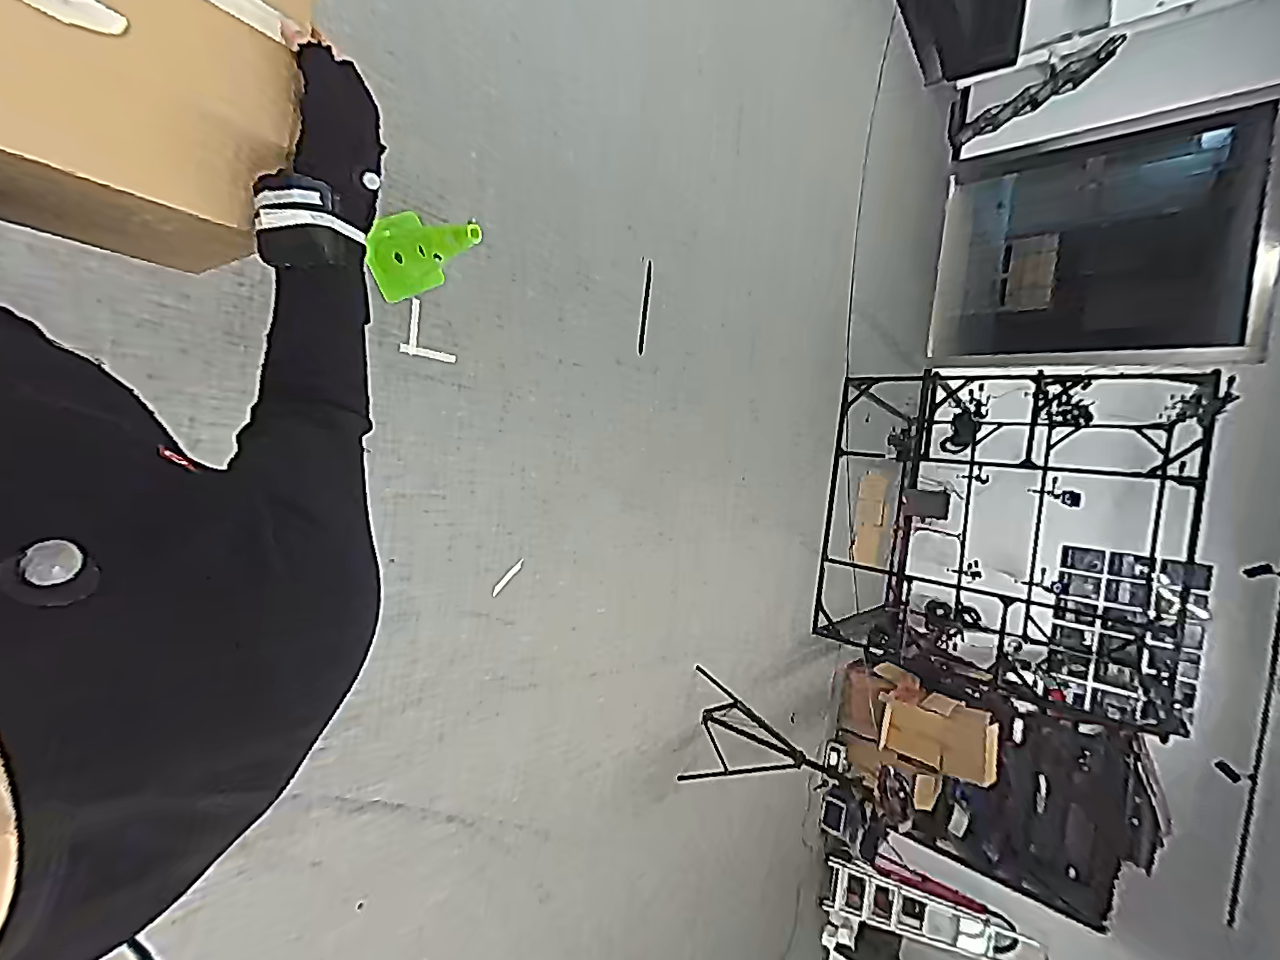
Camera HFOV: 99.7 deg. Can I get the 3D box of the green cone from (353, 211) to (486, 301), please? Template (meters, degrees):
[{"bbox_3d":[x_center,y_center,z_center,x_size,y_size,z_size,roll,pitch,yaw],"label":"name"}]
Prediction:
[{"bbox_3d":[-0.520,-0.594,1.372,0.202,0.368,0.200,-45,129,-39],"label":"green cone"}]

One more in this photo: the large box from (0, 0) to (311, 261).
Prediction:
[{"bbox_3d":[-0.513,-0.390,0.383,0.408,0.320,0.320,5,96,-51],"label":"large box"}]
